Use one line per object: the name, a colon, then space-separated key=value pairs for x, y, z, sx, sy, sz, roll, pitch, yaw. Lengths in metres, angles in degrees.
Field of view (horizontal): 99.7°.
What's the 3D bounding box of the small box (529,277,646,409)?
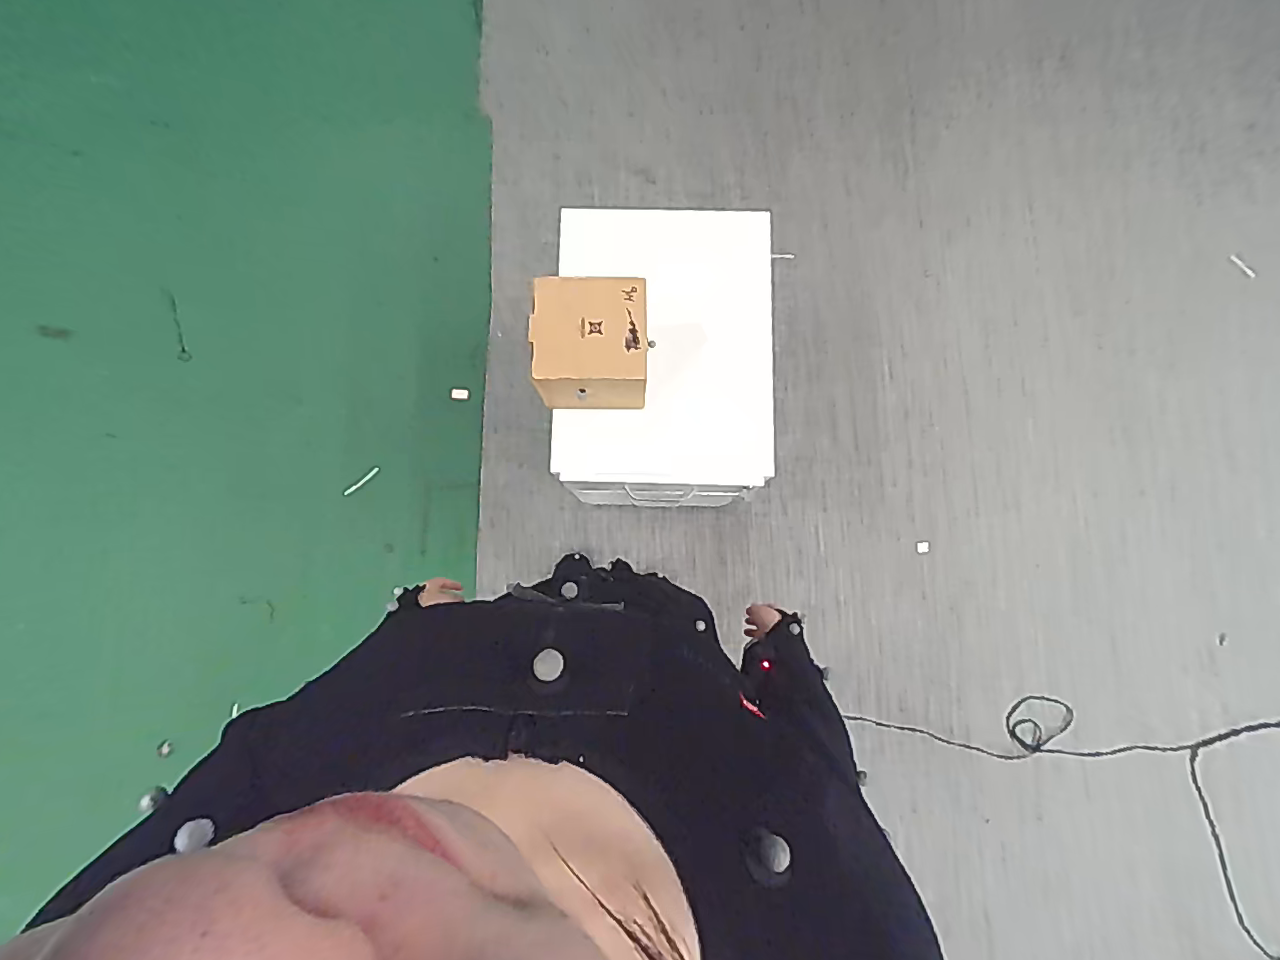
small box: x=-0.079 y=-0.218 z=0.898 sx=0.179 sy=0.176 sz=0.168 roll=0 pitch=82 yaw=-1
